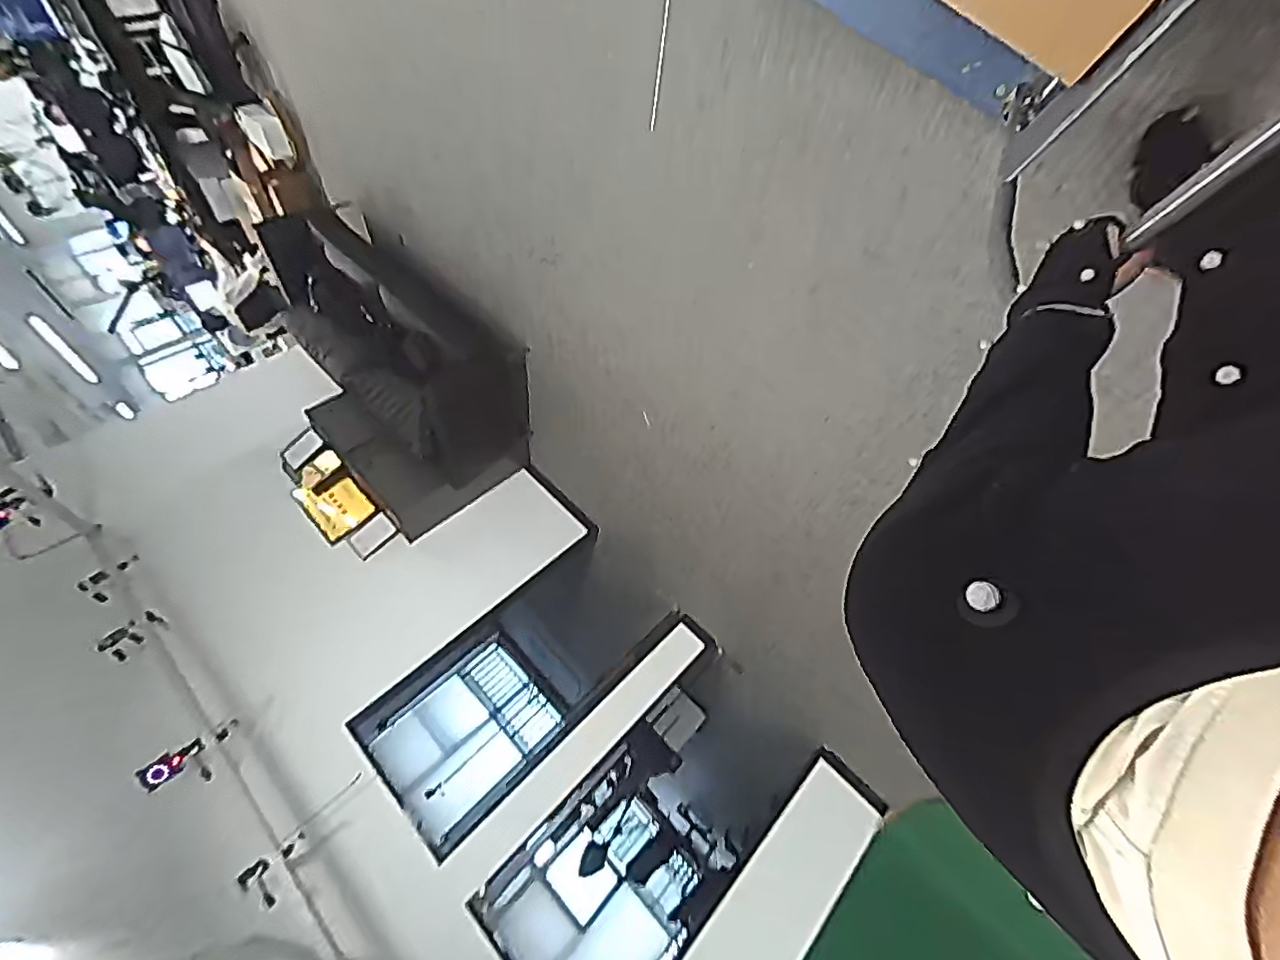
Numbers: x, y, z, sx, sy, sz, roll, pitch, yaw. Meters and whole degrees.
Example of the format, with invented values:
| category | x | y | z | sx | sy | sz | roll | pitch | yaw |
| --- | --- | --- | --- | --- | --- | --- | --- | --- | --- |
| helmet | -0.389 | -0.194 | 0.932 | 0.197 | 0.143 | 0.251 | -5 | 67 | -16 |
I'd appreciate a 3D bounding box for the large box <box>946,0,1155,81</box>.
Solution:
| category | x | y | z | sx | sy | sz | roll | pitch | yaw |
| --- | --- | --- | --- | --- | --- | --- | --- | --- | --- |
| large box | 0.598 | -0.866 | 0.745 | 0.408 | 0.320 | 0.320 | 34 | 149 | 0 |
